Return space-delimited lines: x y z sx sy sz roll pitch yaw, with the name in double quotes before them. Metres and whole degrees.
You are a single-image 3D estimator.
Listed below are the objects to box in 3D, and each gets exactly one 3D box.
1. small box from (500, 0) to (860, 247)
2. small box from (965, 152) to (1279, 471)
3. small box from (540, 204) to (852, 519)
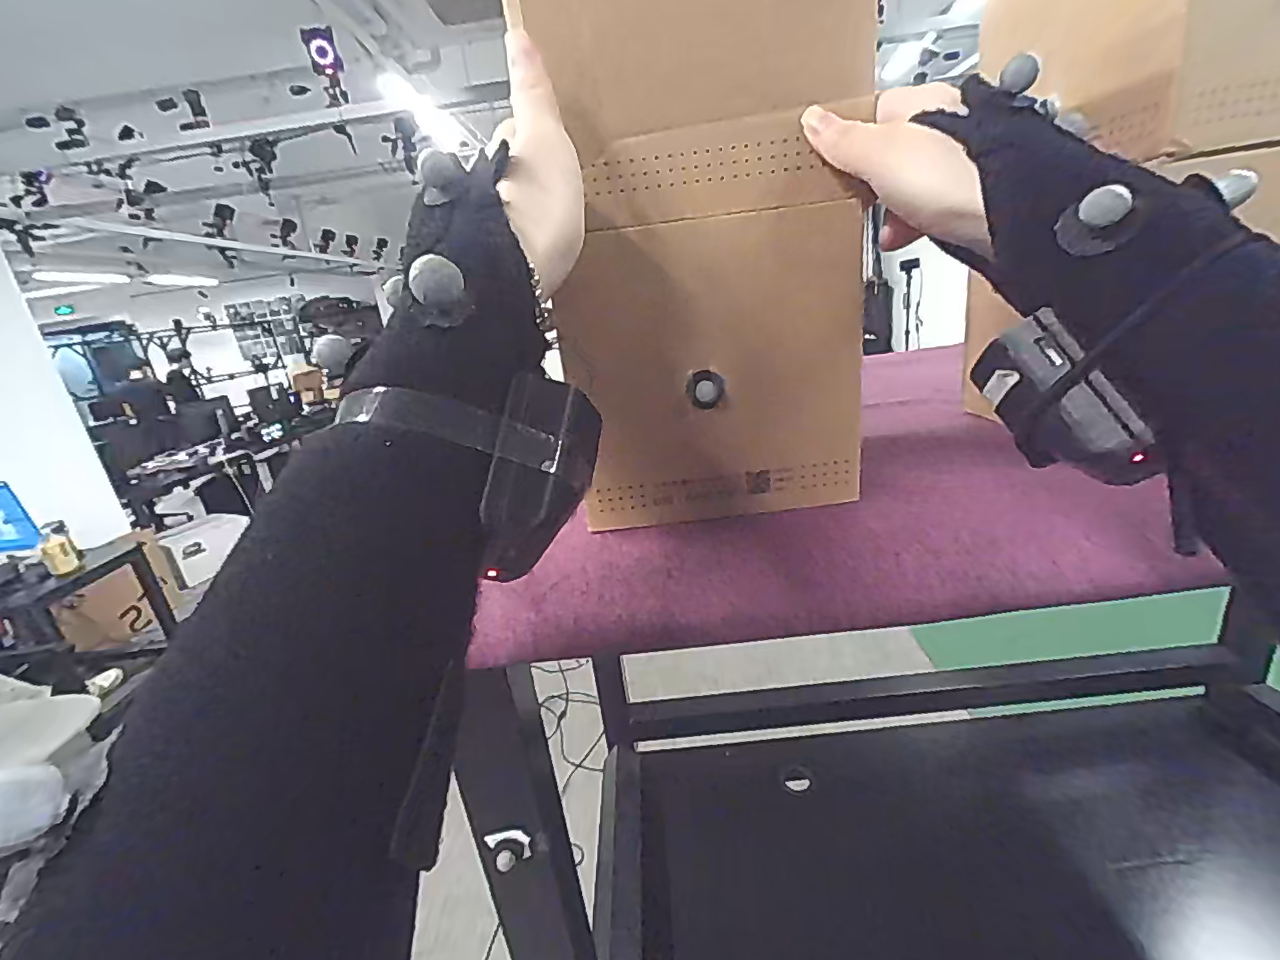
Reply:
"small box" 0.020 -0.231 0.325 0.179 0.176 0.168 -6 20 0
"small box" 0.357 -0.116 0.375 0.179 0.176 0.168 -8 18 1
"small box" 0.037 -0.078 0.378 0.168 0.176 0.179 -6 19 1
